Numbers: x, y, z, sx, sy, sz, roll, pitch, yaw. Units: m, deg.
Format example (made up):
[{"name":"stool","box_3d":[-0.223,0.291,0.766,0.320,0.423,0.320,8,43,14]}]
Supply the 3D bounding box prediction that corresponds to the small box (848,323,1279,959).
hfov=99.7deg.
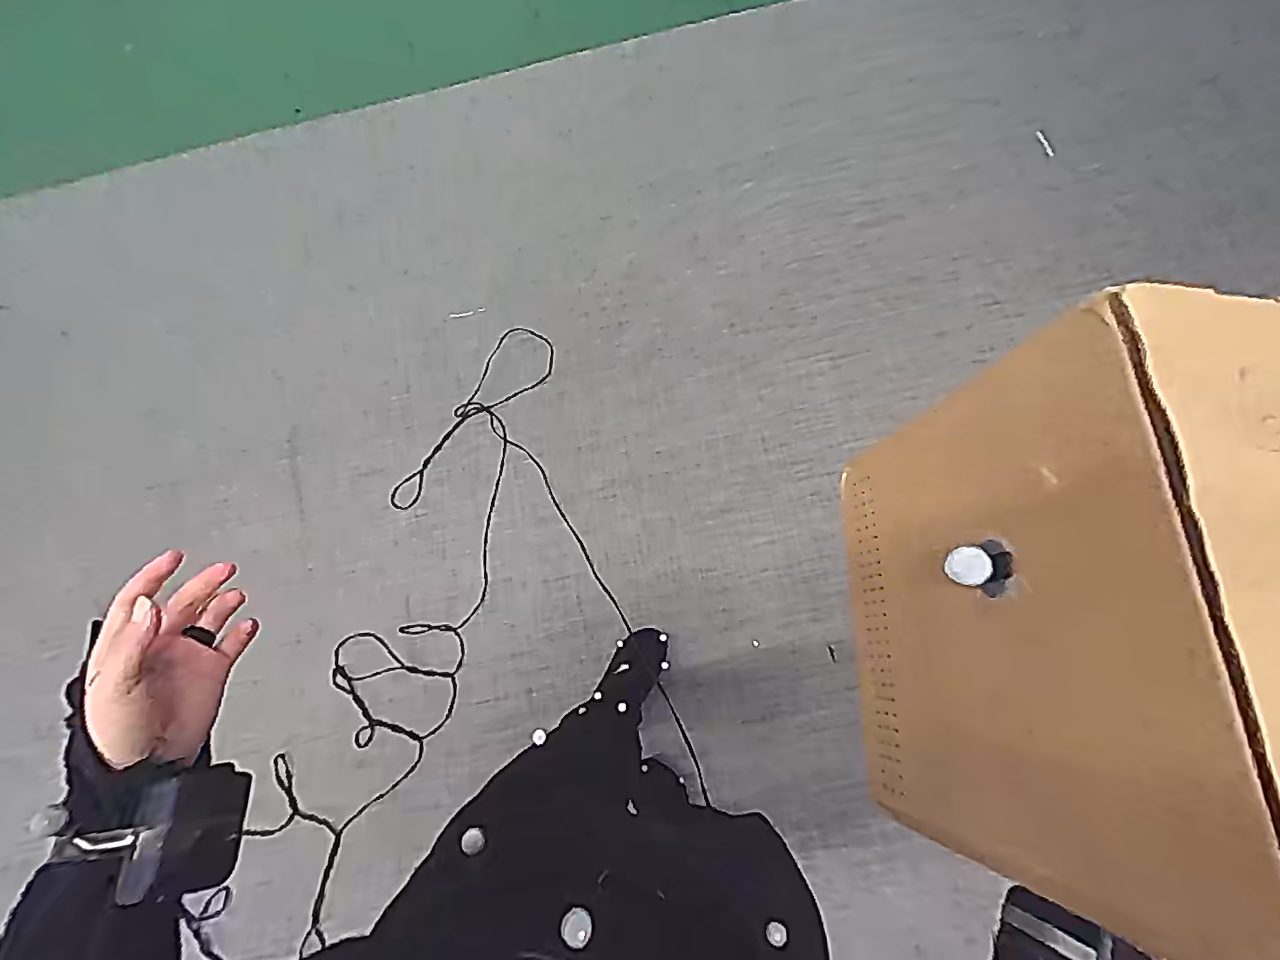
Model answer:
[{"name":"small box","box_3d":[0.206,0.063,0.225,0.168,0.176,0.179,2,71,-7]}]
